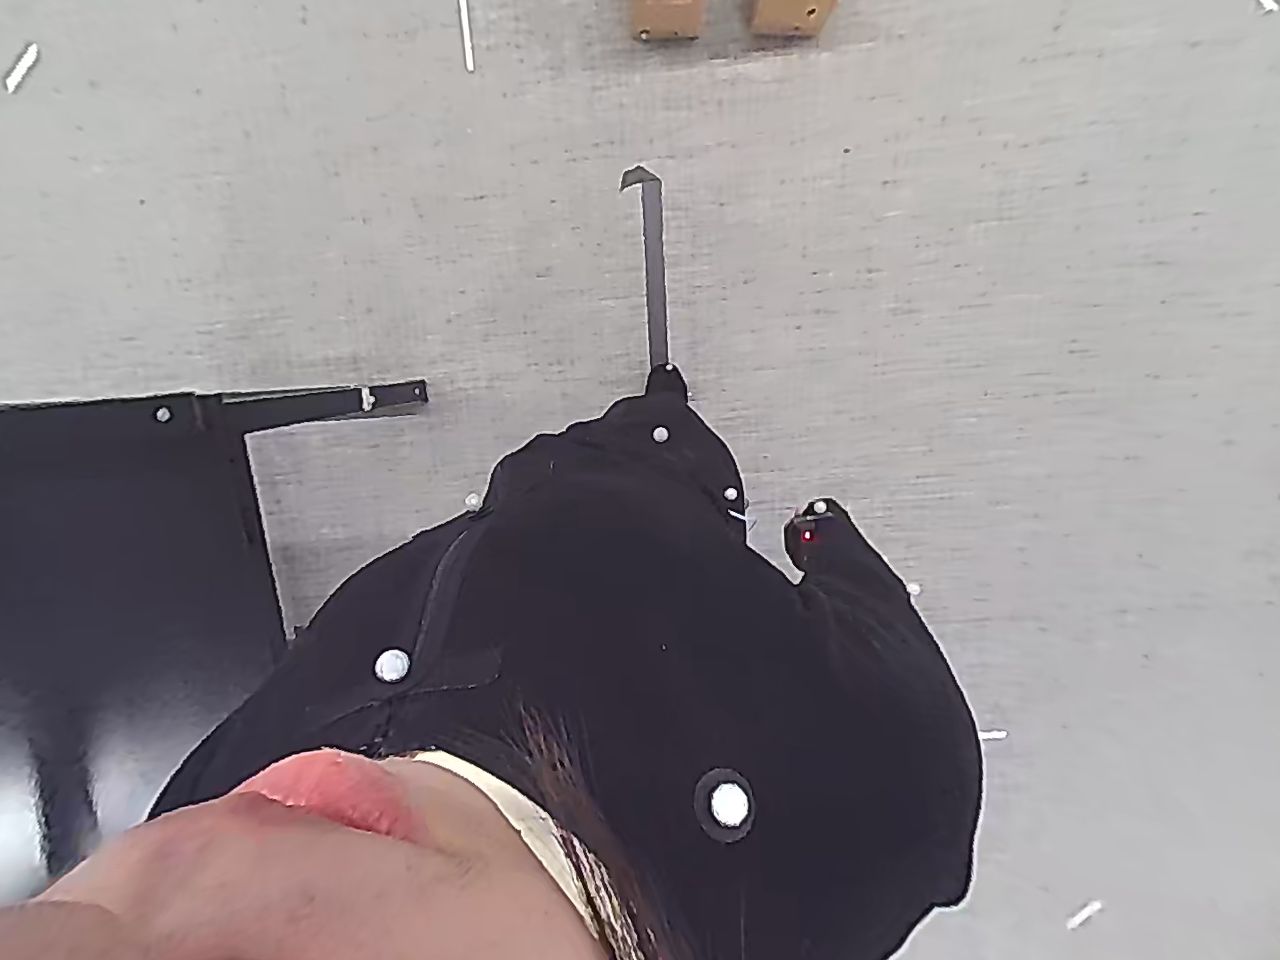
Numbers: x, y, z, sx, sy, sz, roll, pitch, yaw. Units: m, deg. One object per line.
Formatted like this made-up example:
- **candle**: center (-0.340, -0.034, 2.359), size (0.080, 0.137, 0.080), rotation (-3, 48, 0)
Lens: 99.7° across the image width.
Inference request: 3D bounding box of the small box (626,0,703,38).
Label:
- **small box**: center (0.052, -1.090, 1.163), size (0.168, 0.176, 0.179), rotation (-2, 102, 1)

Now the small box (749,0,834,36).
- **small box**: center (0.335, -1.098, 1.161), size (0.168, 0.176, 0.179), rotation (1, 102, 0)
